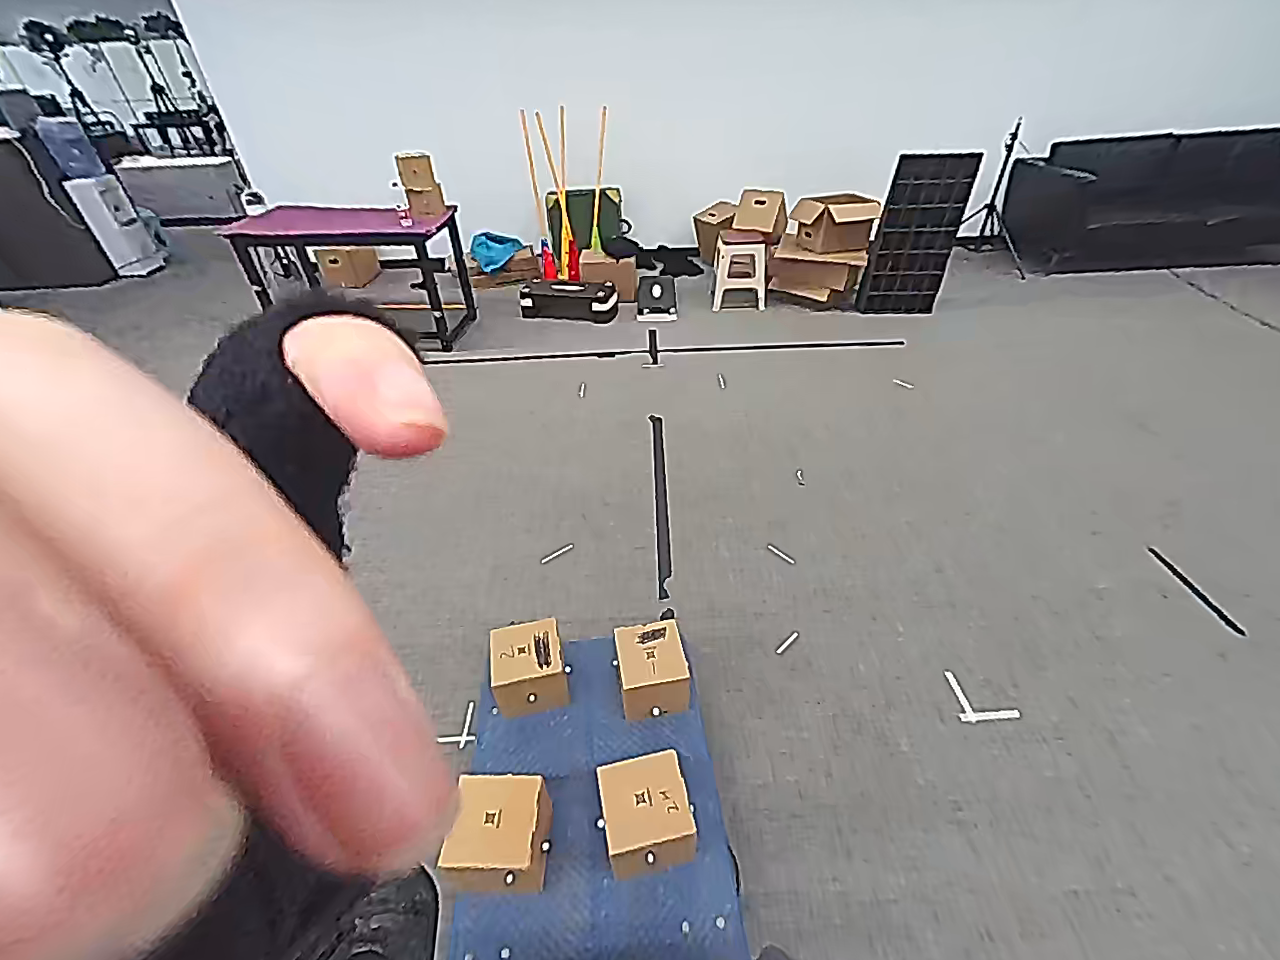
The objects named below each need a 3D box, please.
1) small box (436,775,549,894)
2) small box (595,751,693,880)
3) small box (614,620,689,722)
[{"bbox_3d":[-0.294,0.734,1.119,0.179,0.176,0.168,0,39,1],"label":"small box"},{"bbox_3d":[0.008,0.706,1.136,0.179,0.176,0.168,-9,40,-8],"label":"small box"},{"bbox_3d":[0.026,0.493,1.398,0.168,0.176,0.179,-7,40,-6],"label":"small box"}]
